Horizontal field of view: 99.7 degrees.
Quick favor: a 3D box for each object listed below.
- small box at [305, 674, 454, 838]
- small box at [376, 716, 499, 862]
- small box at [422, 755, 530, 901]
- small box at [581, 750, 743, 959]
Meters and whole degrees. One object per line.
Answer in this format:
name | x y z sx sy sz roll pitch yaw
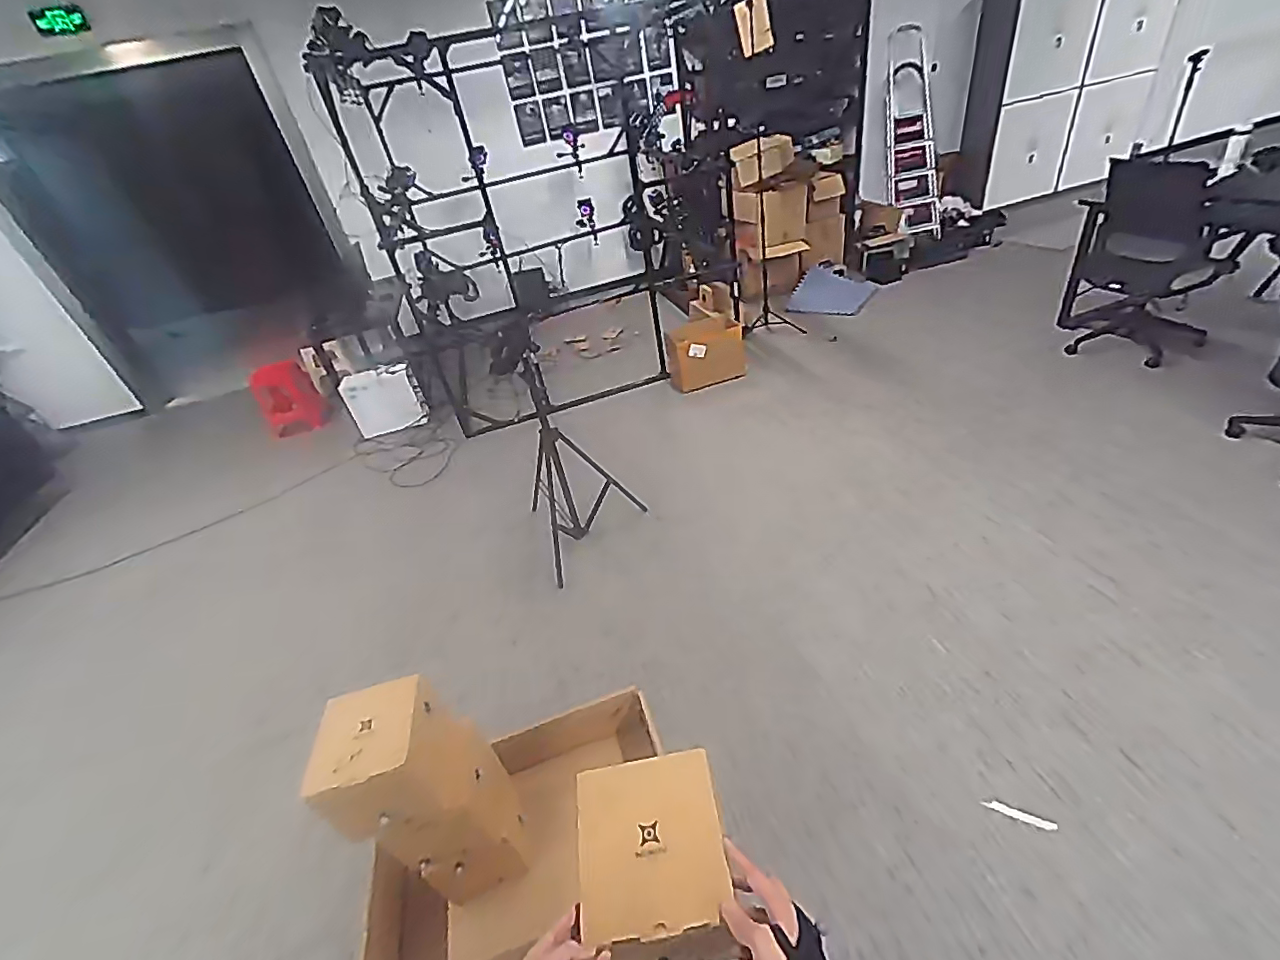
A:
small box | -0.435 0.477 0.939 0.168 0.176 0.179 -15 36 -4
small box | -0.377 0.598 1.039 0.168 0.176 0.179 -16 35 -5
small box | -0.343 0.728 1.134 0.168 0.176 0.179 -20 36 -10
small box | 0.025 0.468 0.664 0.168 0.176 0.179 -11 40 0
